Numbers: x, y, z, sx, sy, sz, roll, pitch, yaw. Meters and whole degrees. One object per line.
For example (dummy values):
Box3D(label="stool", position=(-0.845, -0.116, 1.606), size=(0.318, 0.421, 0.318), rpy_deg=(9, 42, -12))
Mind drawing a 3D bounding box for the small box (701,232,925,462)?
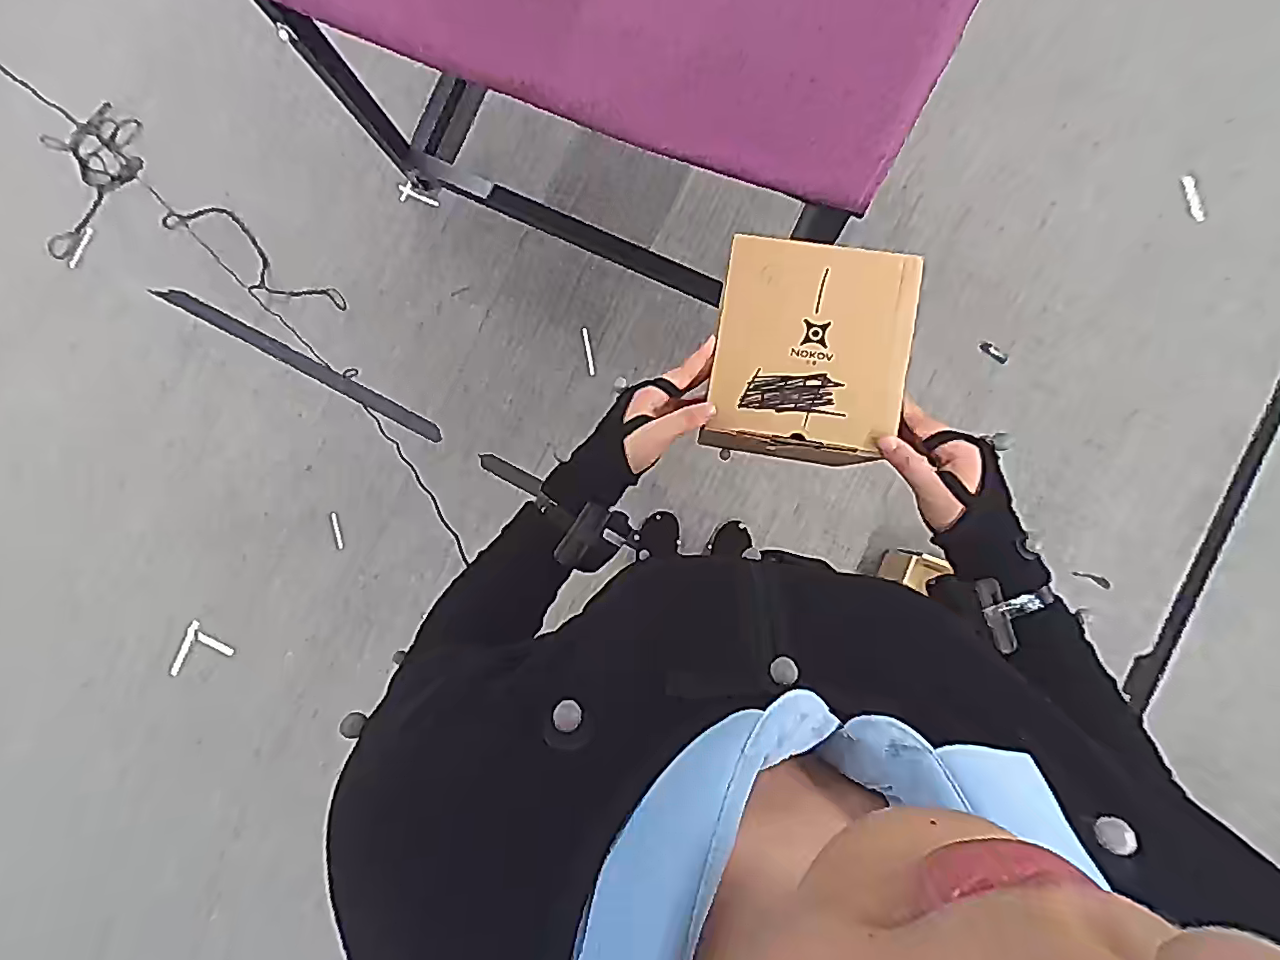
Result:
Box3D(label="small box", position=(0.155, -0.117, 0.543), size=(0.168, 0.176, 0.179), rpy_deg=(9, 88, 5))
